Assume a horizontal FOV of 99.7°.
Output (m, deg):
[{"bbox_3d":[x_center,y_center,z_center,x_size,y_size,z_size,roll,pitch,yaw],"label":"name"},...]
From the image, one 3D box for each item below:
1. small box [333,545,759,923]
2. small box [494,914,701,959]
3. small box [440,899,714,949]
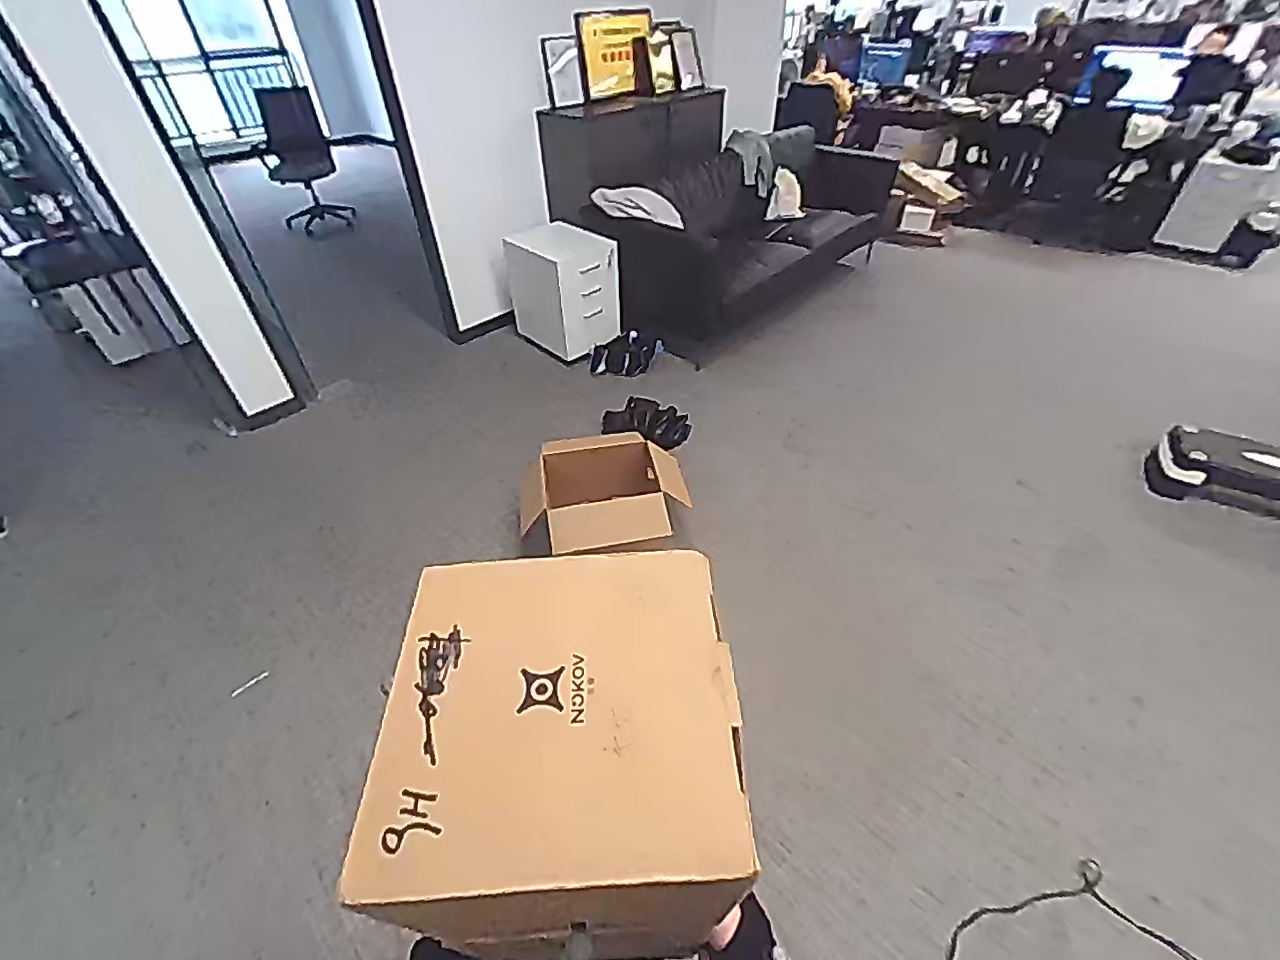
[{"bbox_3d":[-0.040,0.156,0.331,0.179,0.176,0.168,-1,46,-2],"label":"small box"},{"bbox_3d":[-0.036,0.386,0.563,0.179,0.176,0.168,-3,45,0],"label":"small box"},{"bbox_3d":[-0.041,0.270,0.447,0.179,0.176,0.168,-2,46,-2],"label":"small box"}]
